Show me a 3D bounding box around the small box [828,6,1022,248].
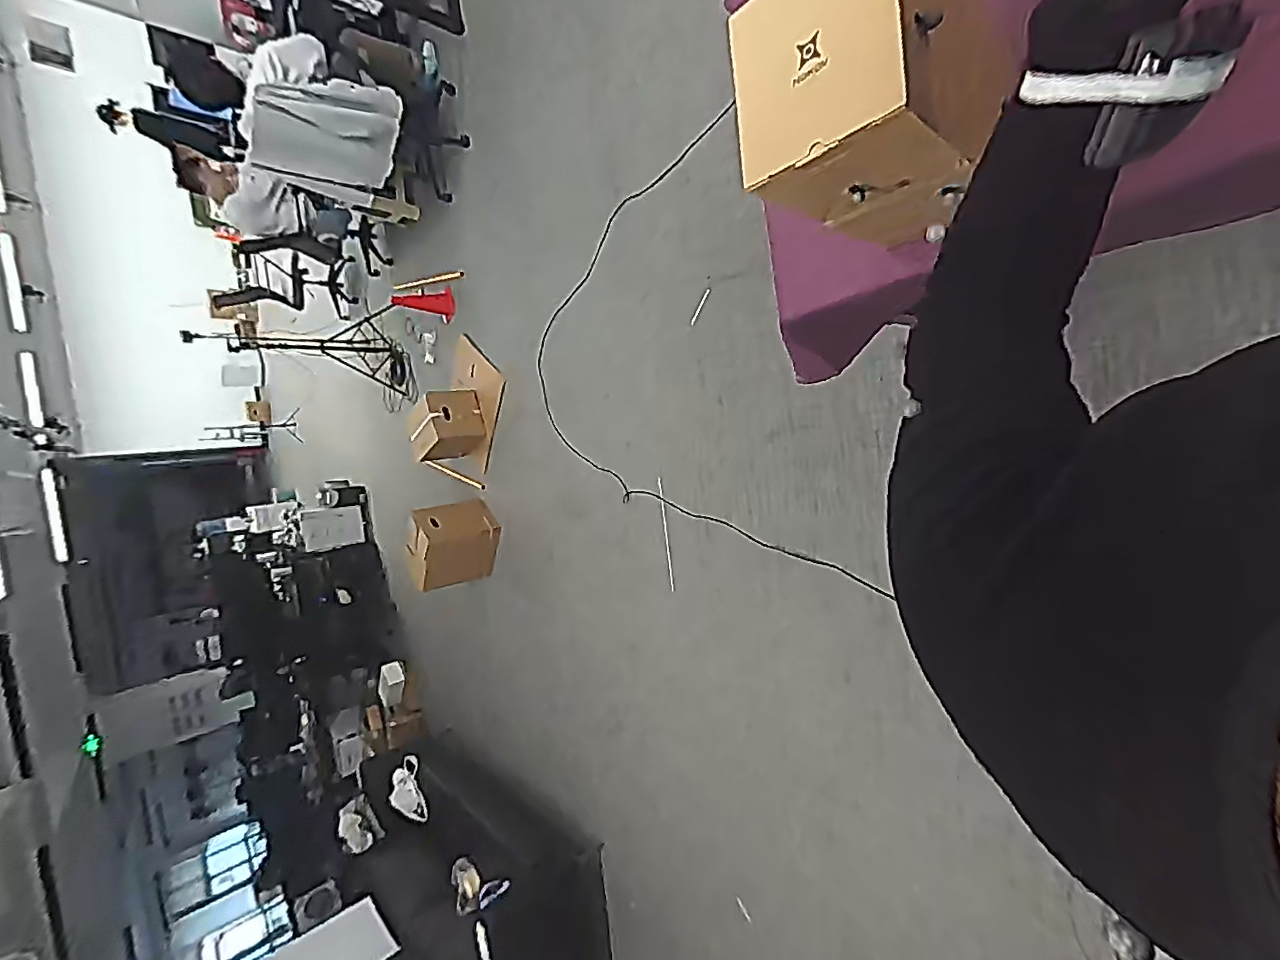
[{"bbox_3d":[0.346,-0.405,0.661,0.179,0.176,0.168,-3,94,49],"label":"small box"}]

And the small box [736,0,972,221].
[{"bbox_3d":[0.221,-0.396,0.557,0.168,0.176,0.179,-2,95,49],"label":"small box"}]
